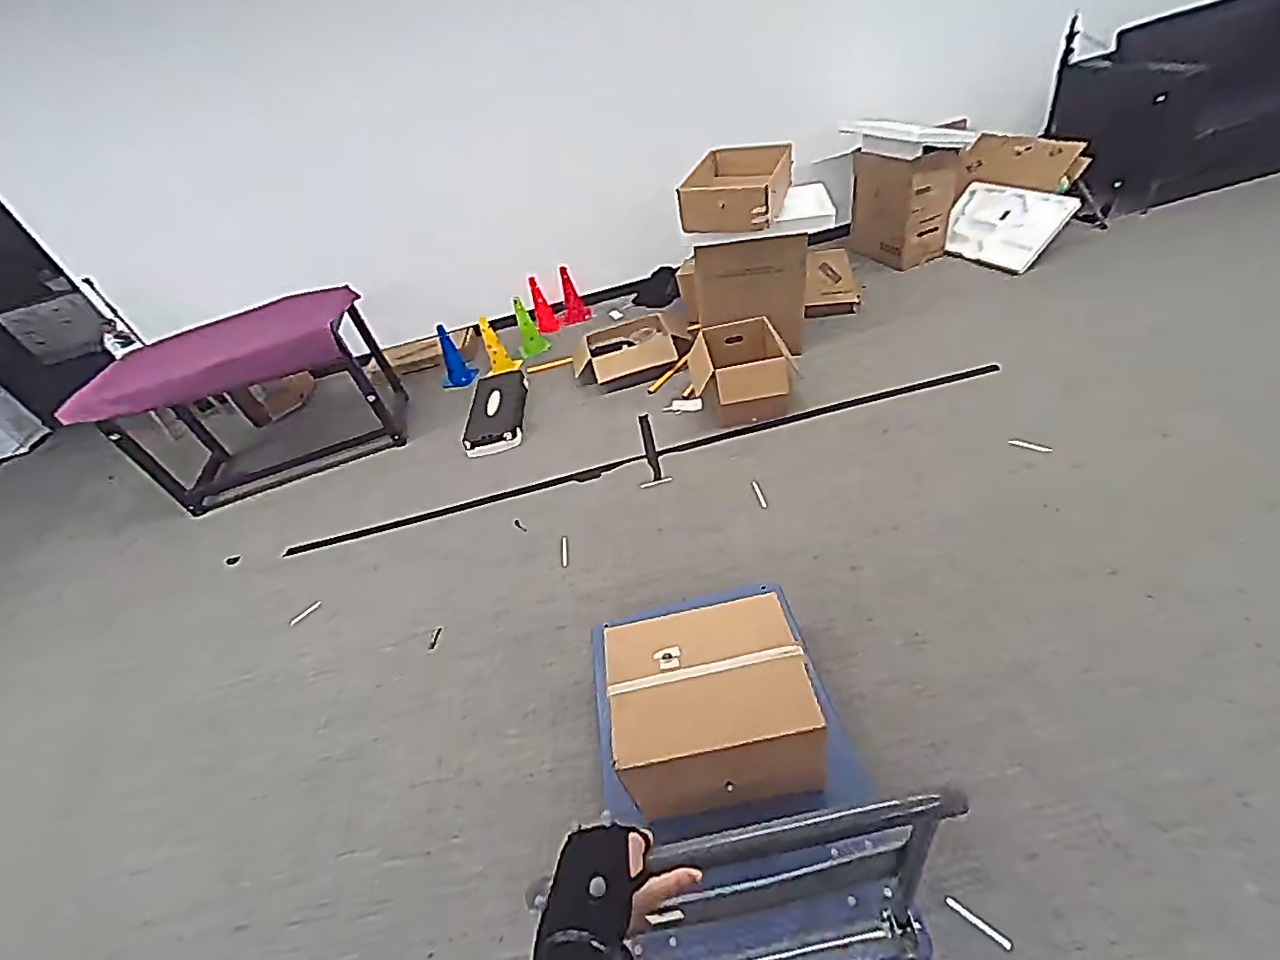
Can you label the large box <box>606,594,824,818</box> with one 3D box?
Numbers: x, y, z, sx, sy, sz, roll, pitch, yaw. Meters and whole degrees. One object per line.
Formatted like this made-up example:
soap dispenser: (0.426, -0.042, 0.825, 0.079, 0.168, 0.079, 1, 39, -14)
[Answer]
large box: (0.165, 0.513, 1.224, 0.408, 0.320, 0.320, -14, 39, 4)
